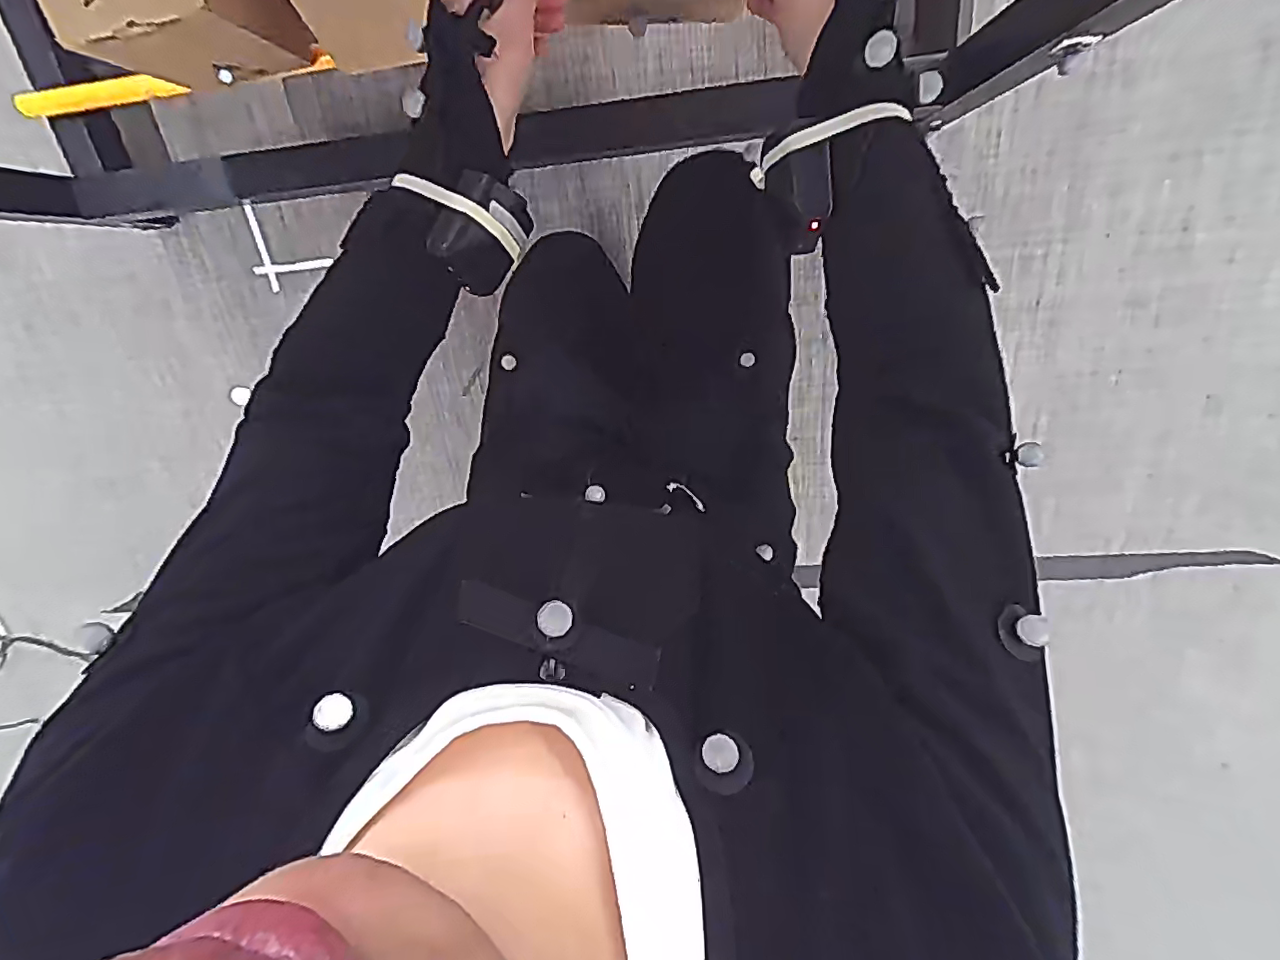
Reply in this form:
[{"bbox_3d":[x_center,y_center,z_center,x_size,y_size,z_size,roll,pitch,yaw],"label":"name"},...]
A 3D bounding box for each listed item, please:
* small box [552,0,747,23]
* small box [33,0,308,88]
[{"bbox_3d":[0.004,-0.431,0.354,0.168,0.176,0.179,-1,121,0],"label":"small box"},{"bbox_3d":[-0.489,-0.539,0.552,0.168,0.176,0.179,-7,113,7],"label":"small box"}]
